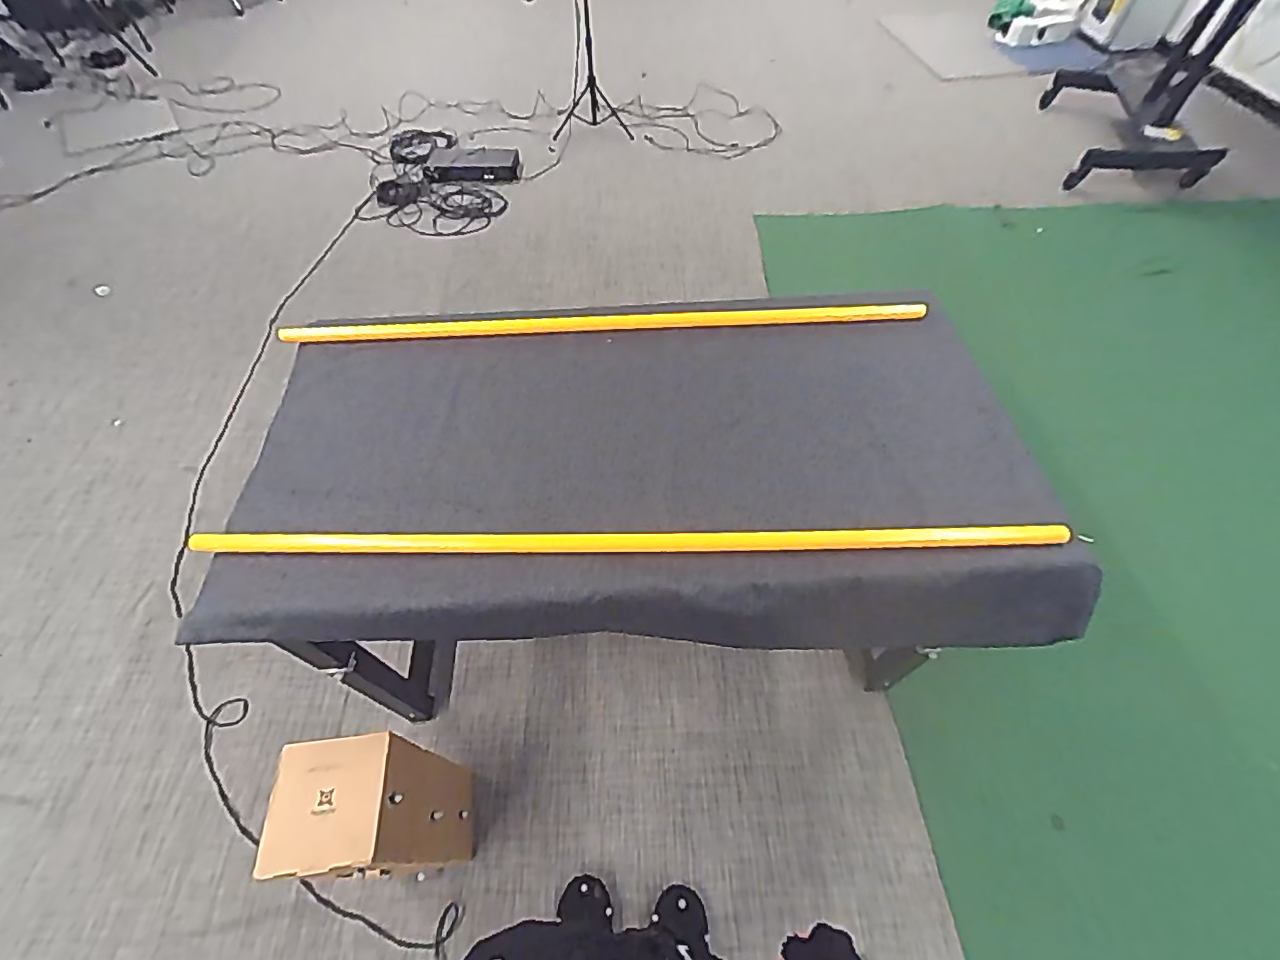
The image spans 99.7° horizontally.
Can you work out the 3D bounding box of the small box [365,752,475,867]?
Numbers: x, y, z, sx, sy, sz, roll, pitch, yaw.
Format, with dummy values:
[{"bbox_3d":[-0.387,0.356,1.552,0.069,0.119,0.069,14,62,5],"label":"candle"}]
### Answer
[{"bbox_3d":[-0.453,0.696,1.140,0.168,0.176,0.179,-9,56,-5],"label":"small box"}]
